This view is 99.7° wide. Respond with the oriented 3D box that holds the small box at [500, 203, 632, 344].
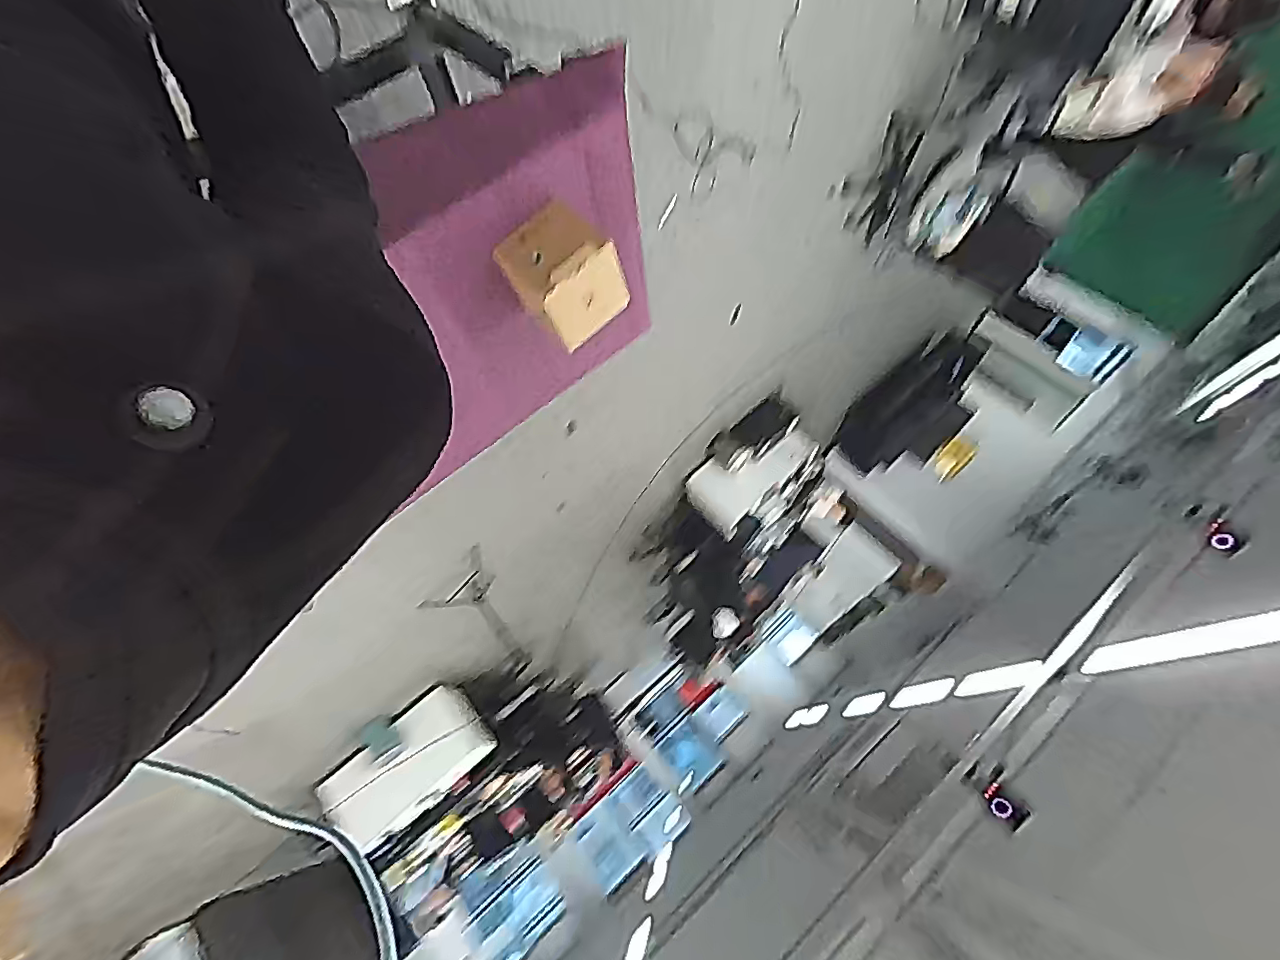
[{"bbox_3d":[-0.145,-0.412,1.068,0.168,0.176,0.179,-41,158,-5],"label":"small box"}]
